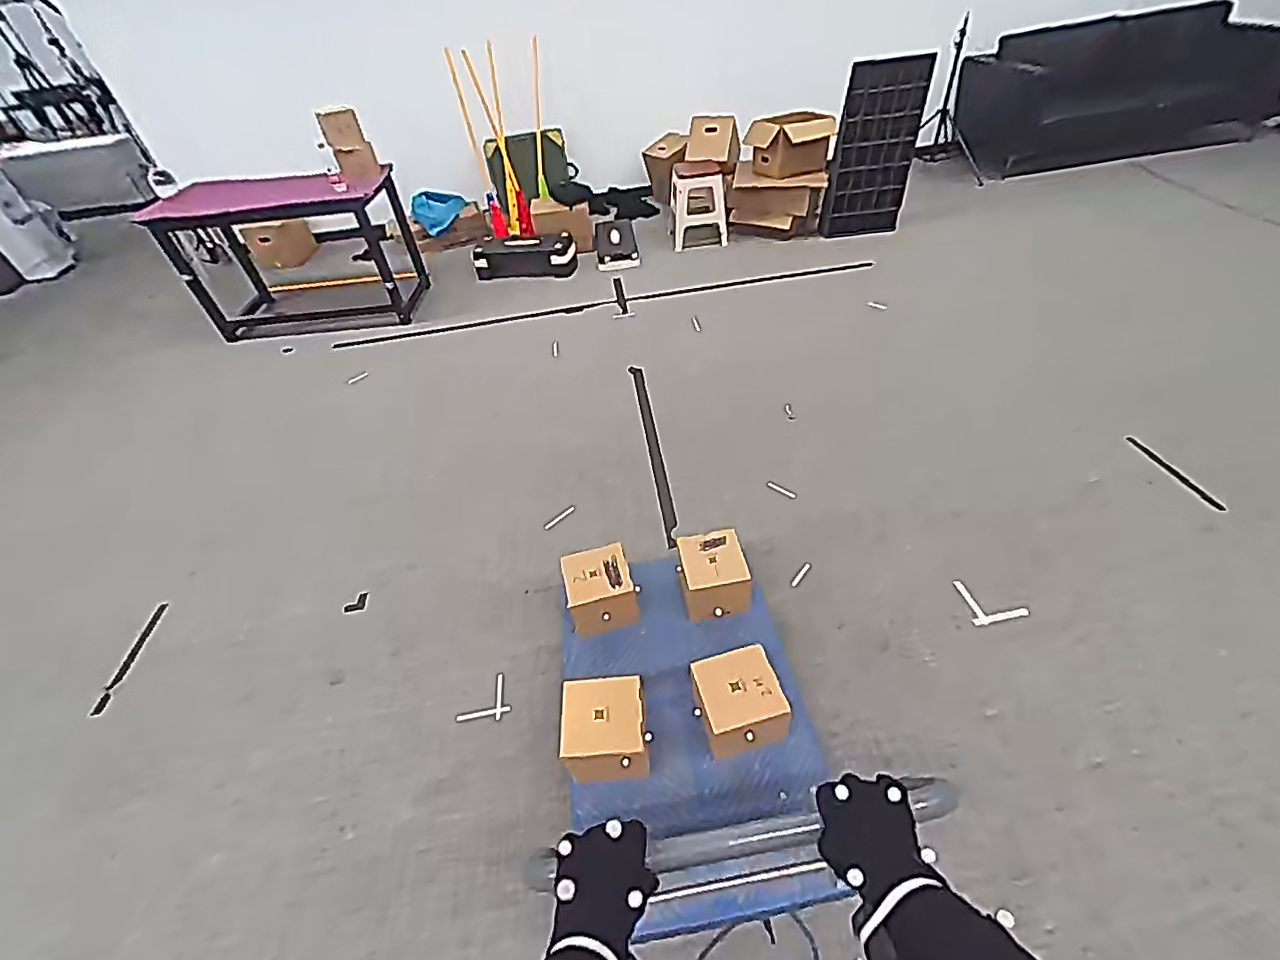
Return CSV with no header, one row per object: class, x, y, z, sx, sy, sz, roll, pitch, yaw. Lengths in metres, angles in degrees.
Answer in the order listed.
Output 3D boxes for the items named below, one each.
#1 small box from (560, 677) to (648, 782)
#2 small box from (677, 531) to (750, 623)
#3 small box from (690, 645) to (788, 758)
small box,-0.077,0.573,1.236,0.179,0.176,0.168,-5,44,0
small box,0.199,0.271,1.507,0.168,0.176,0.179,-10,45,-2
small box,0.225,0.516,1.251,0.179,0.176,0.168,-14,45,-6
